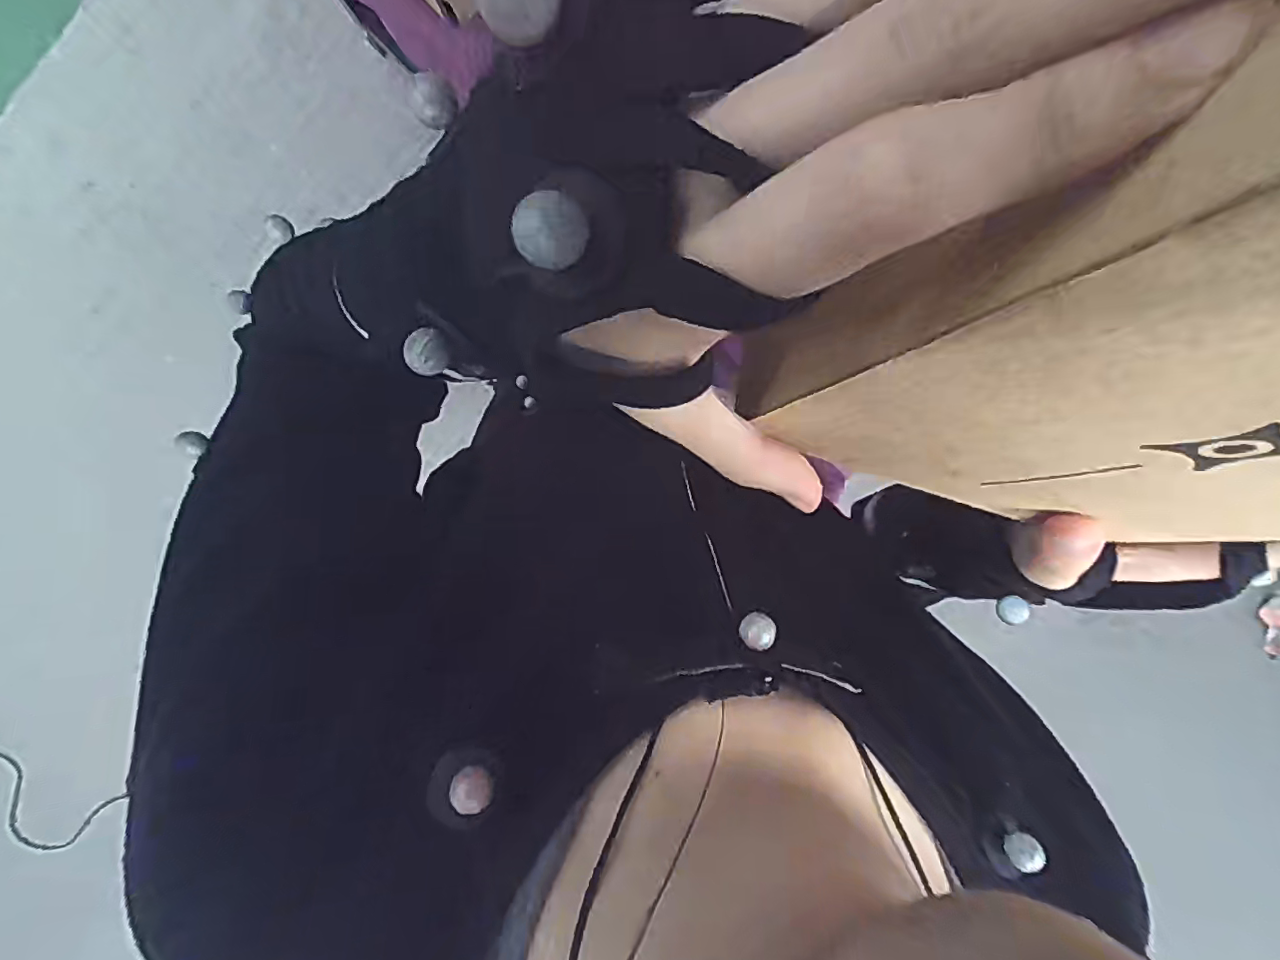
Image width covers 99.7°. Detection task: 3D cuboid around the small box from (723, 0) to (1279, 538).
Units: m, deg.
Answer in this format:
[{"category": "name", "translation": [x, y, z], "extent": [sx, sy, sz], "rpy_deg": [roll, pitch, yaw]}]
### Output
[{"category": "small box", "translation": [0.141, -0.087, 0.130], "extent": [0.168, 0.179, 0.176], "rpy_deg": [15, 77, -18]}]
